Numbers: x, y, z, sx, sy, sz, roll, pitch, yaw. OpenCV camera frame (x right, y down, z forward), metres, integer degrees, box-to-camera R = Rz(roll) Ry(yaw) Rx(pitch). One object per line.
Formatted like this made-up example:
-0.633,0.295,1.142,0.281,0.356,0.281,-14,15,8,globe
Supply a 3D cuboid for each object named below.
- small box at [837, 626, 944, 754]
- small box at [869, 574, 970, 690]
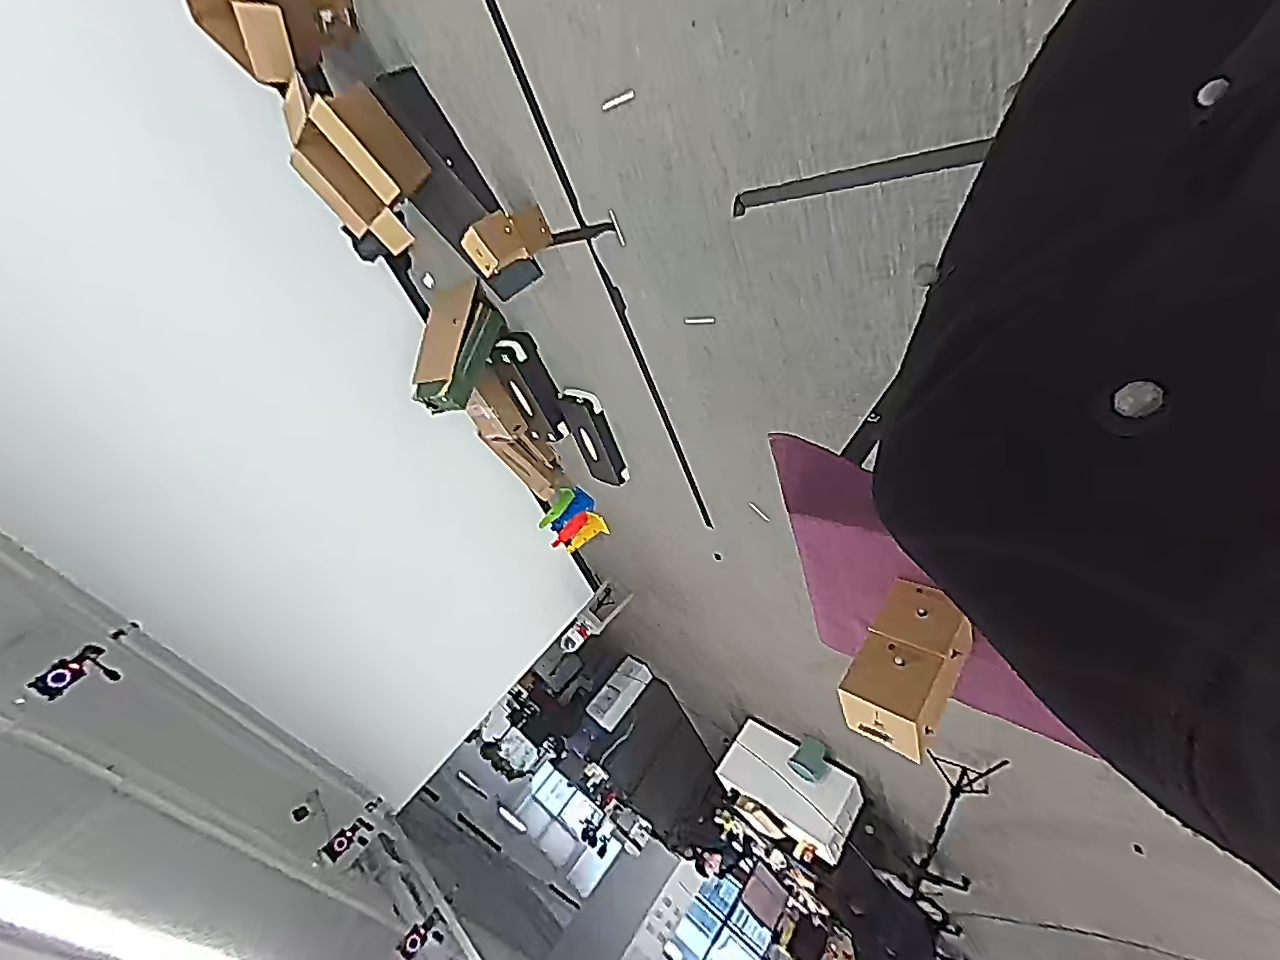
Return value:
0.568,0.464,1.213,0.168,0.176,0.179,15,140,43,small box
0.666,0.352,1.283,0.168,0.176,0.179,15,141,43,small box
